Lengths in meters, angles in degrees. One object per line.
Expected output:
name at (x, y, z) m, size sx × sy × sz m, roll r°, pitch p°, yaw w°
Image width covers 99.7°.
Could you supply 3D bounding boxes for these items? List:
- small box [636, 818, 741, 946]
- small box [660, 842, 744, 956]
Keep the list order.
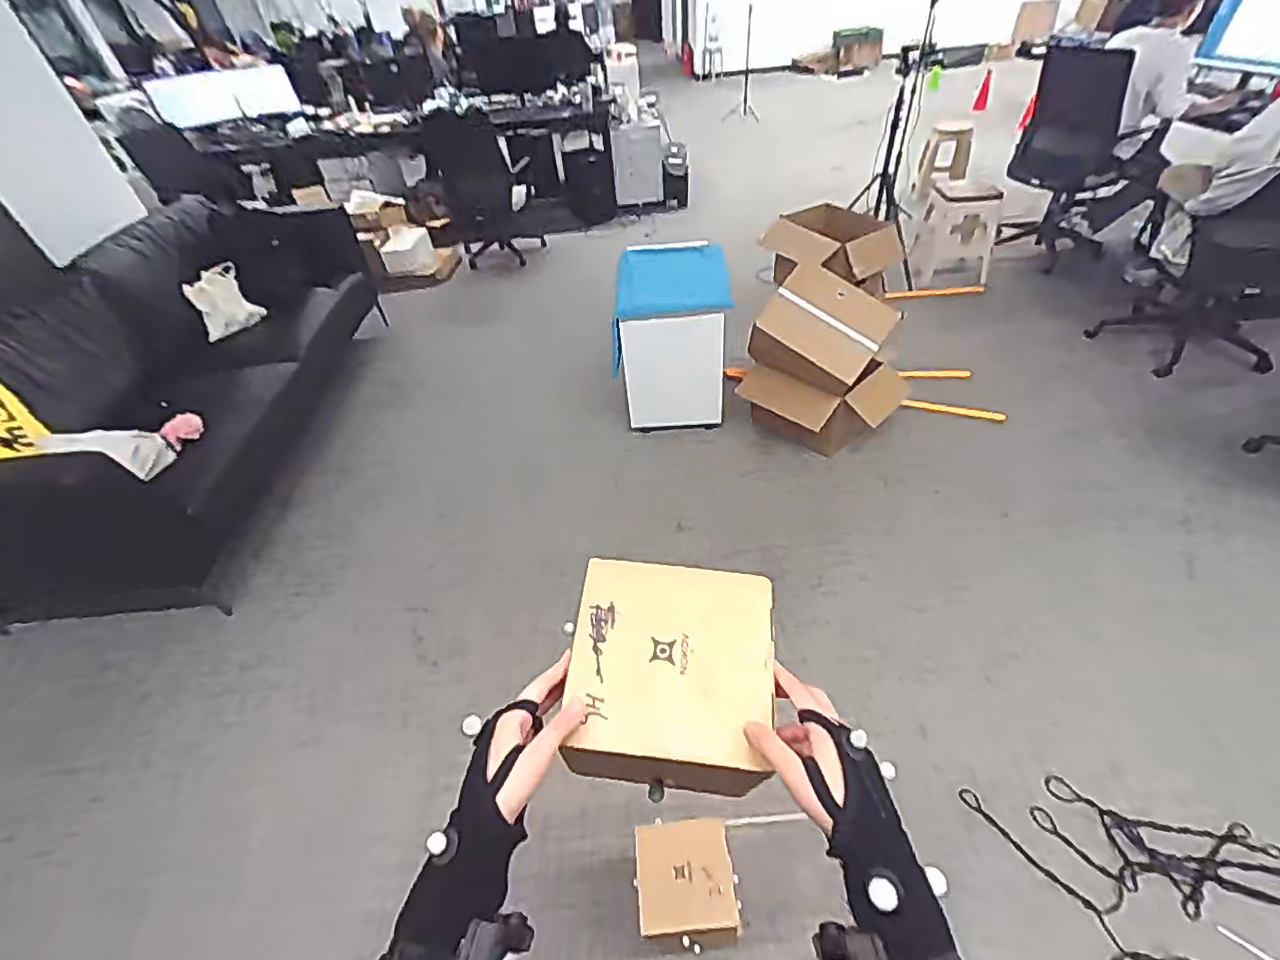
small box at (0.092, 0.768, 1.031) m, size 0.179 × 0.176 × 0.168 m, roll -6°, pitch 44°, yaw 1°
small box at (0.118, 0.886, 1.143) m, size 0.179 × 0.176 × 0.168 m, roll -6°, pitch 44°, yaw 1°
